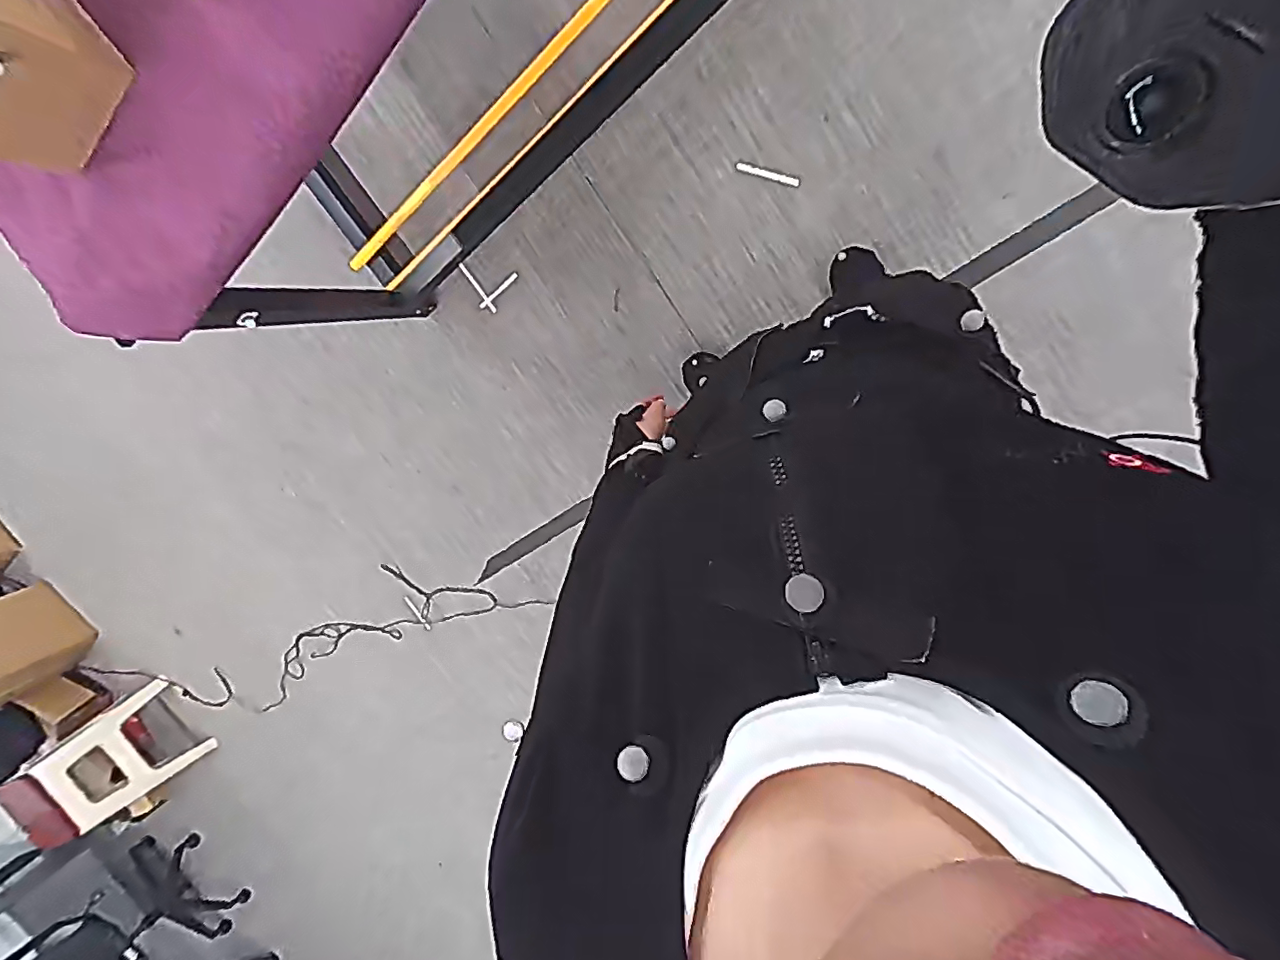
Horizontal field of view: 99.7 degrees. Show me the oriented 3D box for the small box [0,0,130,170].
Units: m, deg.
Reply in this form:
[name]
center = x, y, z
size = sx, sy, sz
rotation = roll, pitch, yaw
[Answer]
[small box]
center = -0.744, -0.497, 0.611
size = 0.179, 0.176, 0.168
rotation = -36, 95, 20
